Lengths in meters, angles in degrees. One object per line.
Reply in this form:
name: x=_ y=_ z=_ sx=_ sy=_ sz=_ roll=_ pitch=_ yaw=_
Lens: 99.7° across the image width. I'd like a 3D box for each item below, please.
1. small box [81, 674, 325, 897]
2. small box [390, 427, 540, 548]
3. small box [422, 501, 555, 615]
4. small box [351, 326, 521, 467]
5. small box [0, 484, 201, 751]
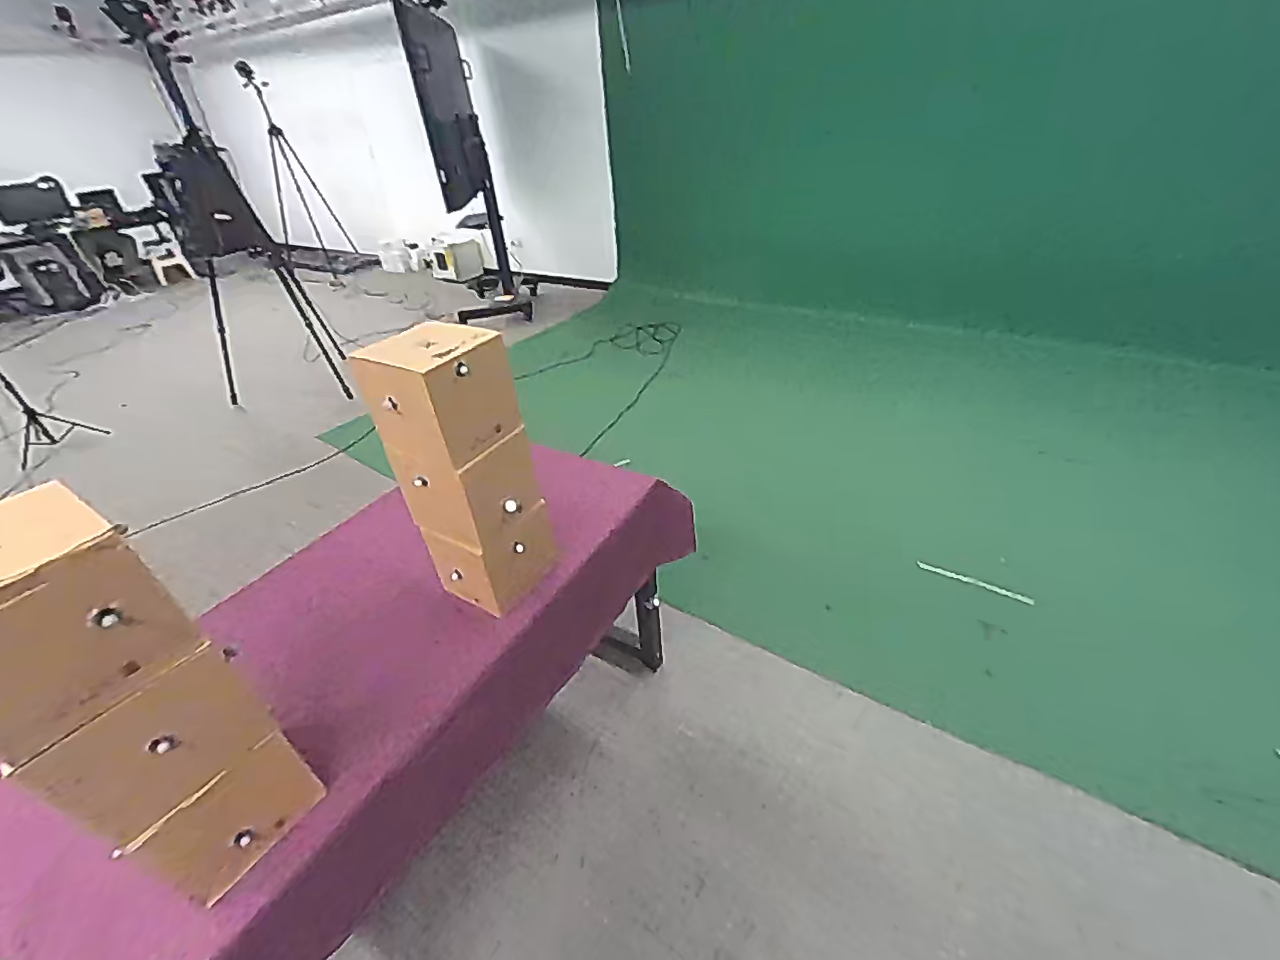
small box: x=-0.570 y=0.405 z=0.723 sx=0.179 sy=0.176 sz=0.168 roll=17 pitch=41 yaw=28
small box: x=-0.307 y=-0.001 z=0.978 sx=0.179 sy=0.176 sz=0.168 roll=16 pitch=41 yaw=26
small box: x=-0.288 y=0.135 z=1.069 sx=0.168 sy=0.176 sz=0.179 roll=18 pitch=41 yaw=29
small box: x=-0.325 y=-0.140 z=0.890 sx=0.179 sy=0.176 sz=0.168 roll=15 pitch=41 yaw=28
small box: x=-0.596 y=0.134 z=0.541 sx=0.179 sy=0.176 sz=0.168 roll=18 pitch=40 yaw=30
